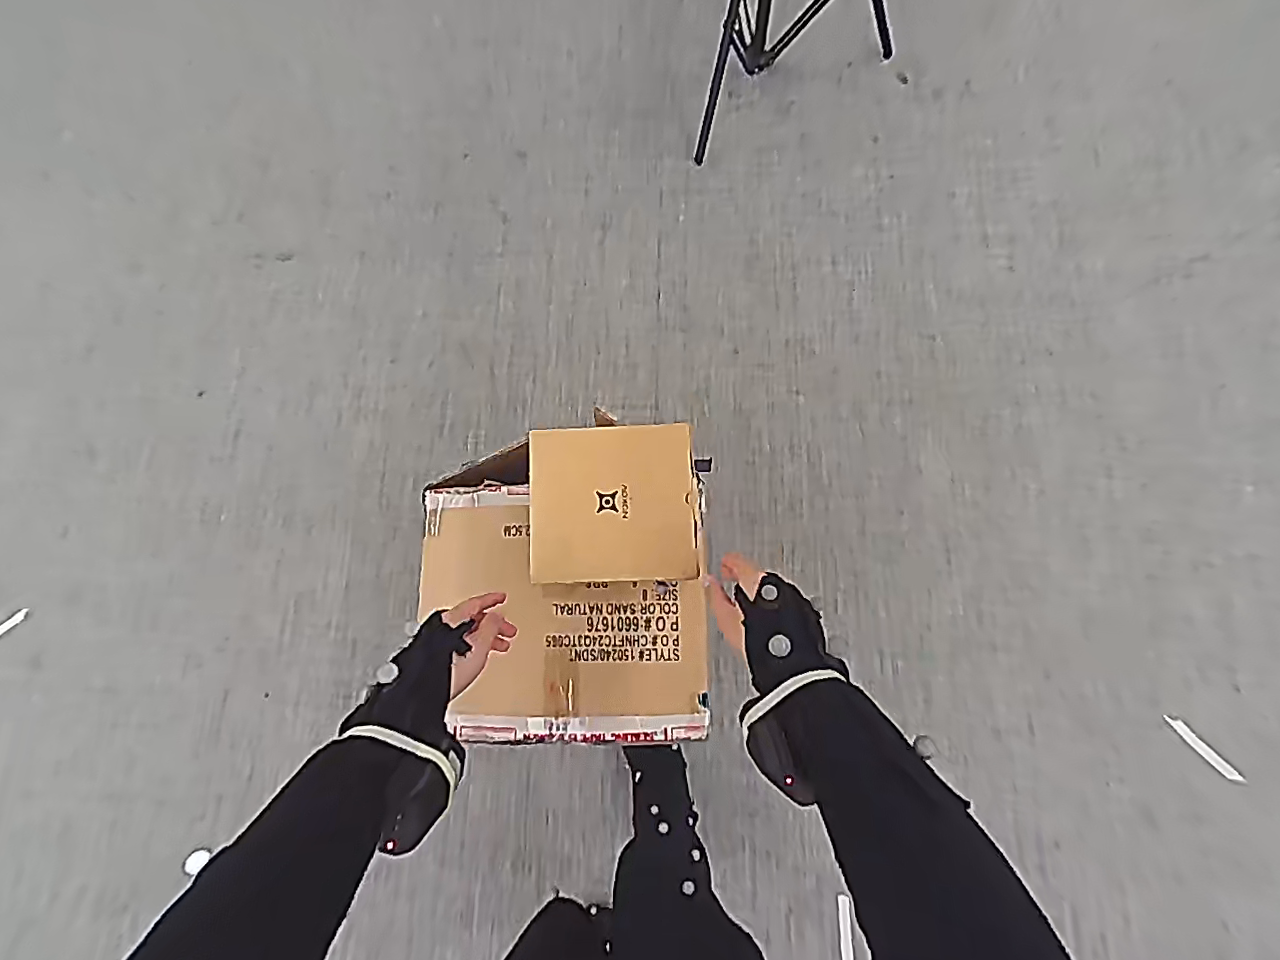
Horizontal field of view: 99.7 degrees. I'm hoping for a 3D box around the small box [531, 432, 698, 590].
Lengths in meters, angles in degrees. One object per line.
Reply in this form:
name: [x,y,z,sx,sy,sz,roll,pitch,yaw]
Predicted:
small box: [-0.025,0.046,0.650,0.179,0.176,0.168,-3,79,1]
